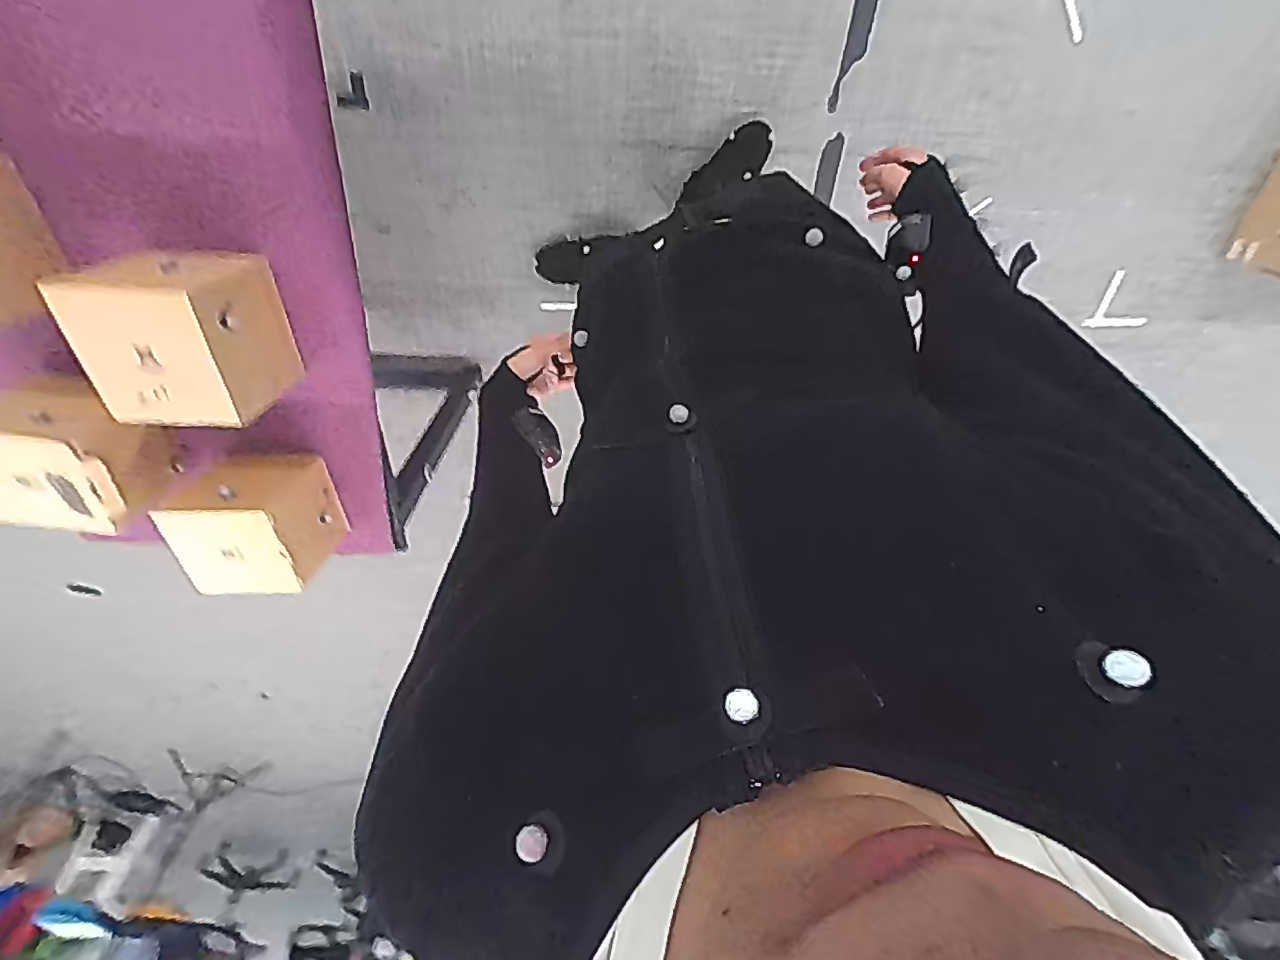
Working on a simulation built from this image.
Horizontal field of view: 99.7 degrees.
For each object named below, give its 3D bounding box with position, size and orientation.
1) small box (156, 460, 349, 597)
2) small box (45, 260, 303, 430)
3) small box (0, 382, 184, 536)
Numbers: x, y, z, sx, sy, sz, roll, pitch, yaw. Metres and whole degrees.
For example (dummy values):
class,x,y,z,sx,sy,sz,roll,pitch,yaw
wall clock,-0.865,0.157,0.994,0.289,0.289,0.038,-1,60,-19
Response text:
class,x,y,z,sx,sy,sz,roll,pitch,yaw
small box,-0.632,0.077,0.908,0.179,0.176,0.168,-1,123,0
small box,-0.595,-0.185,0.724,0.168,0.176,0.179,2,126,-2
small box,-0.855,-0.036,0.830,0.179,0.176,0.168,7,125,-5
